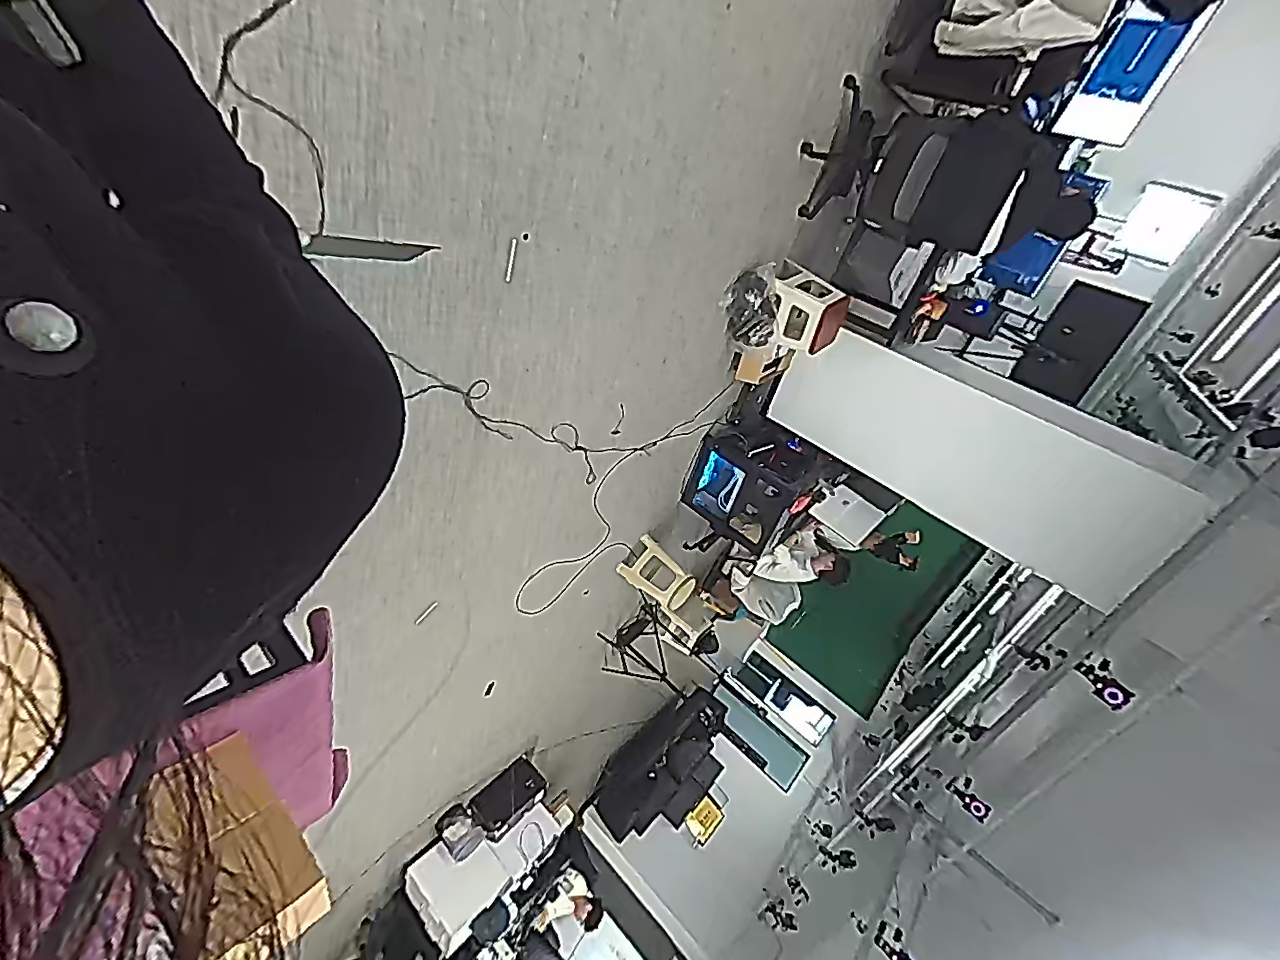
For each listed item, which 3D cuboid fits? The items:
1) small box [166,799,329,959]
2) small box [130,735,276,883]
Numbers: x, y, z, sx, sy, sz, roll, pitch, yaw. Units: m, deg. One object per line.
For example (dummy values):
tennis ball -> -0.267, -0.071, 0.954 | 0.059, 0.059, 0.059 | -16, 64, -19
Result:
small box -> -0.661, 0.696, 0.915 | 0.179, 0.176, 0.168 | -26, 145, -45
small box -> -0.780, 0.609, 0.983 | 0.168, 0.176, 0.179 | -25, 142, -46
